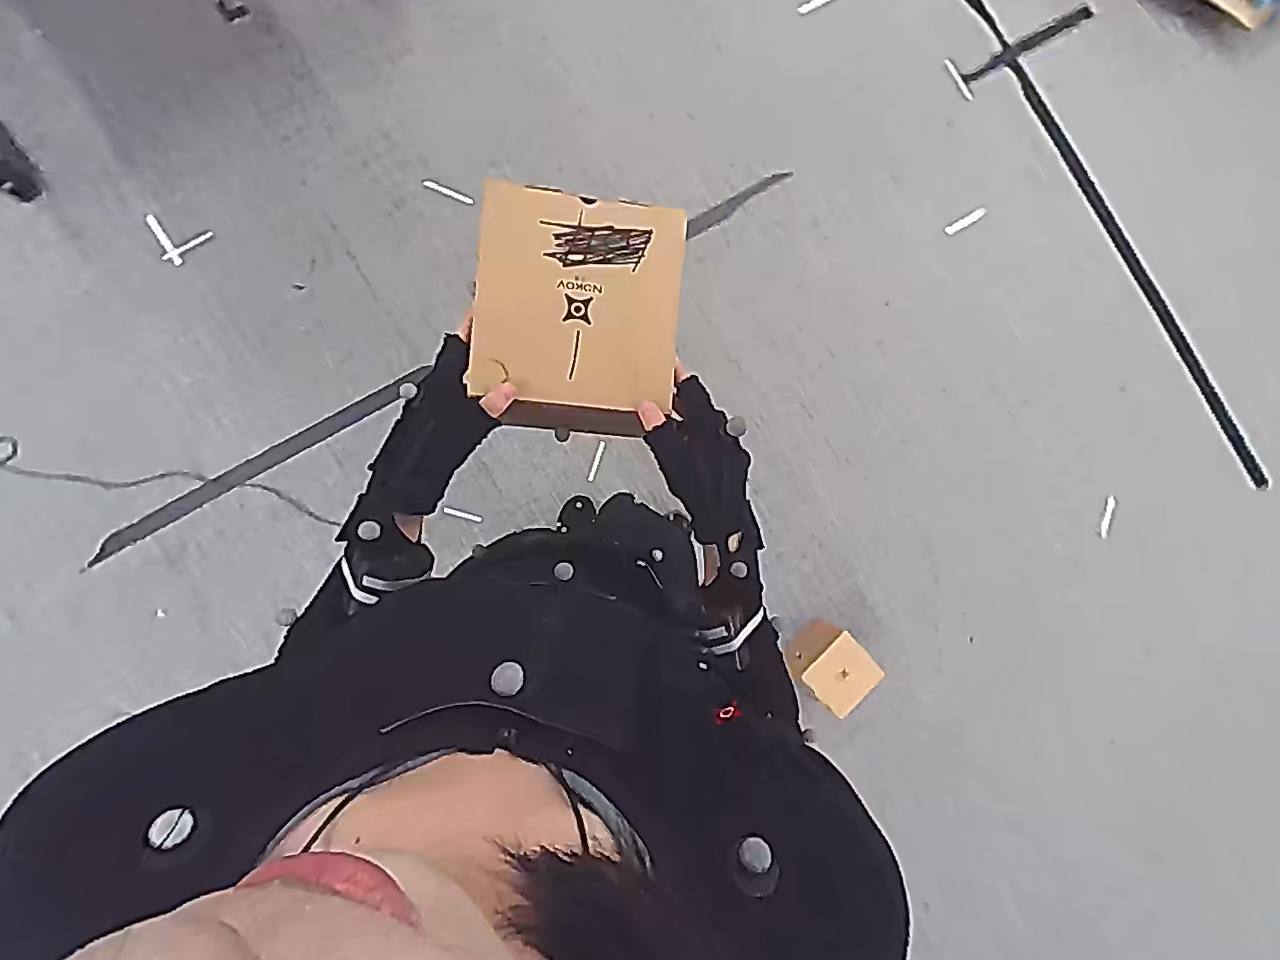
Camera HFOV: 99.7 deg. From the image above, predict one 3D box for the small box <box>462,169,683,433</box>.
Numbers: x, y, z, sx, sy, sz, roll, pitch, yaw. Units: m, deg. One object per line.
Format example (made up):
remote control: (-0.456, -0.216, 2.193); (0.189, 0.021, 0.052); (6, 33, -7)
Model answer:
small box: (-0.062, -0.147, 0.506); (0.168, 0.176, 0.179); (4, 87, -8)

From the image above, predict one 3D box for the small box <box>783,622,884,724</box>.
small box: (0.518, 0.521, 1.483); (0.179, 0.176, 0.168); (-43, 93, -7)

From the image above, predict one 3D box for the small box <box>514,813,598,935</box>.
small box: (-0.212, 0.995, 1.388); (0.168, 0.176, 0.179); (-17, 88, -6)
